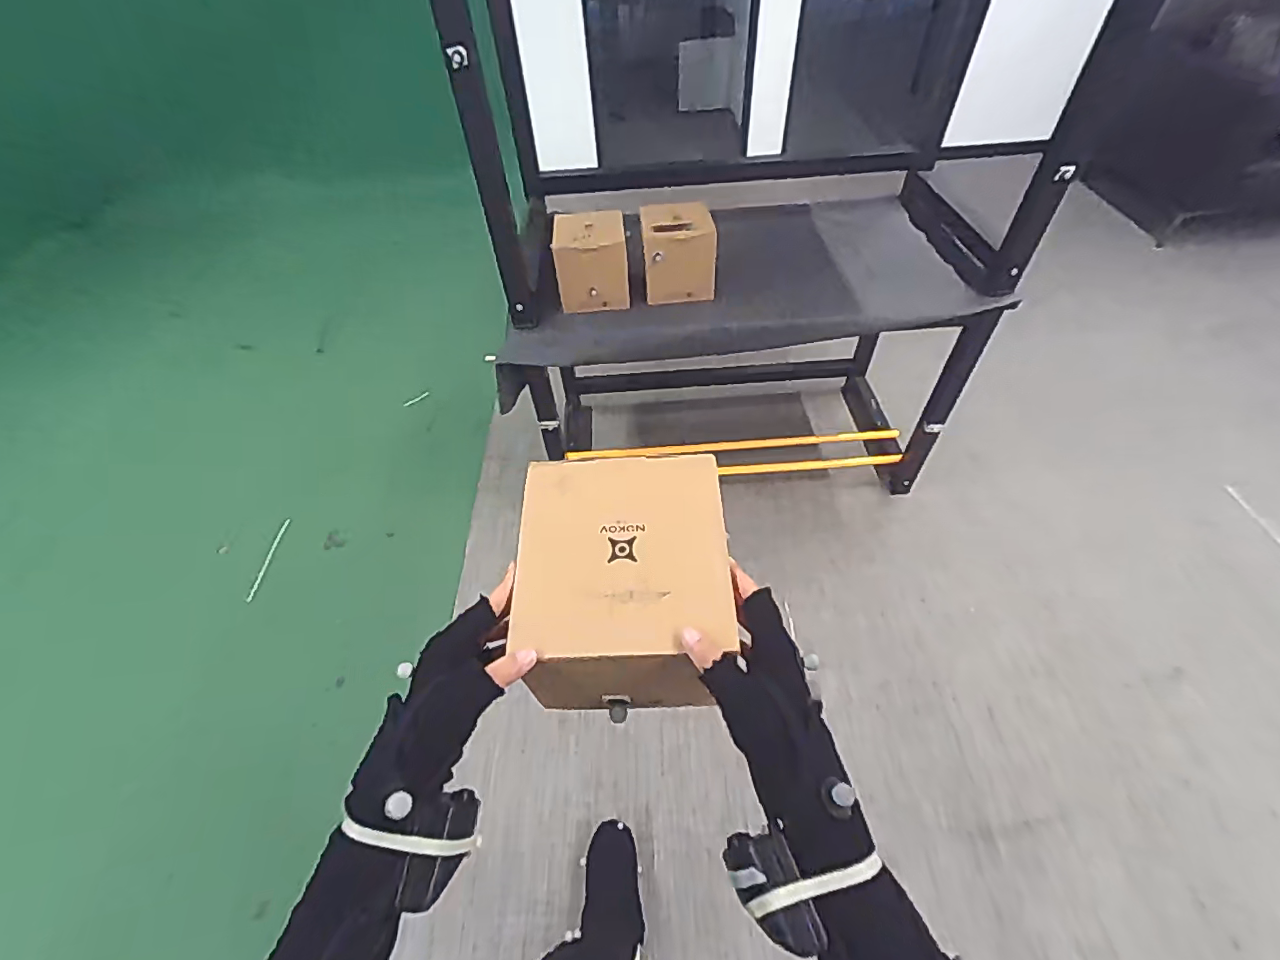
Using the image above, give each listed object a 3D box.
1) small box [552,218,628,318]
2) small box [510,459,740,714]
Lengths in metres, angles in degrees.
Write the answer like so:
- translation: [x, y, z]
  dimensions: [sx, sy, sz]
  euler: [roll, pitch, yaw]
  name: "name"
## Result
- translation: [-0.119, -0.519, 1.324]
  dimensions: [0.168, 0.176, 0.179]
  euler: [-5, 49, -1]
  name: "small box"
- translation: [-0.009, 0.100, 0.491]
  dimensions: [0.168, 0.176, 0.179]
  euler: [-2, 54, 1]
  name: "small box"
